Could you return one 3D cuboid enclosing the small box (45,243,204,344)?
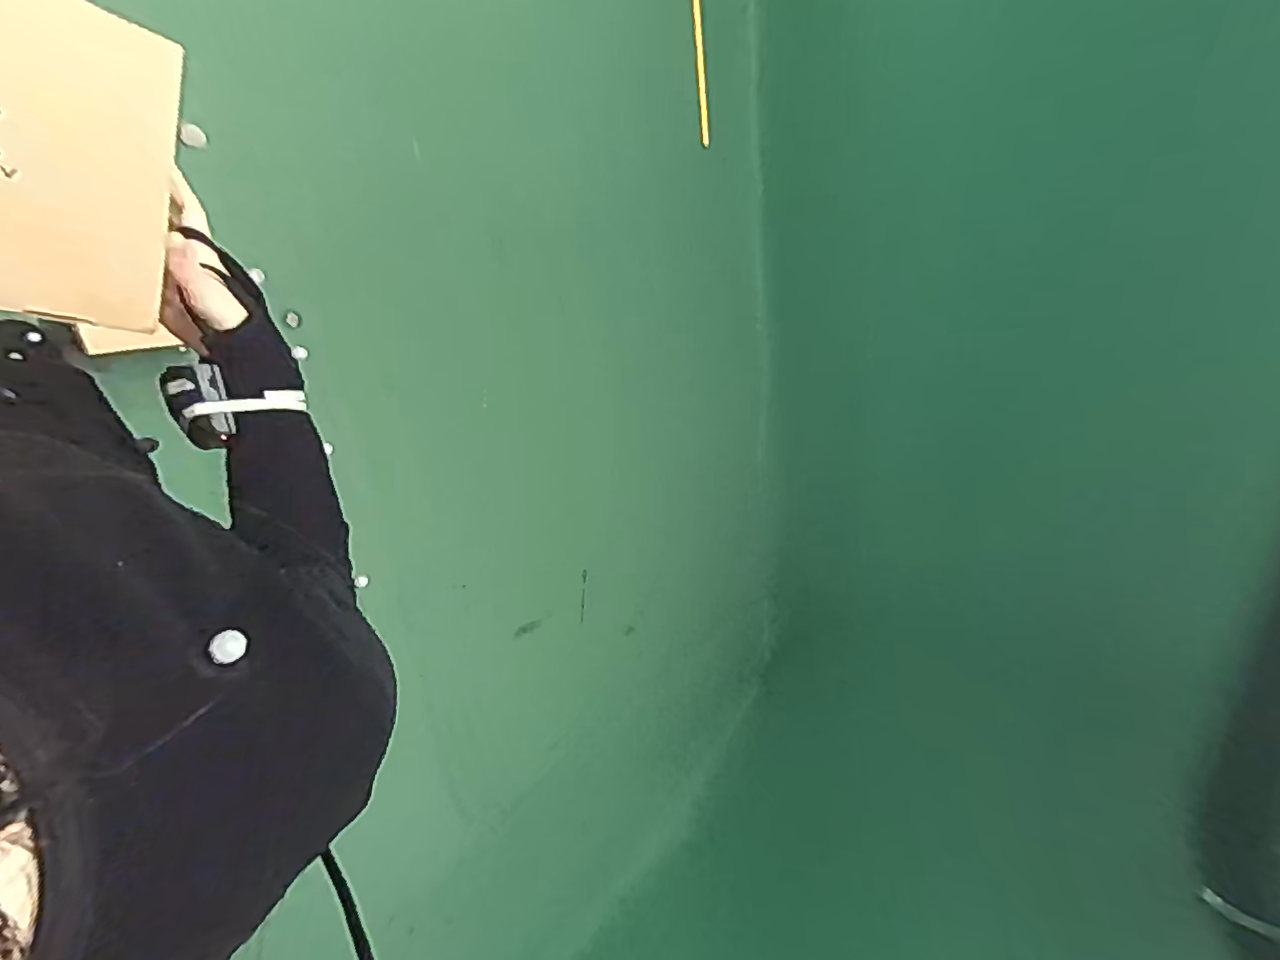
[{"bbox_3d":[-0.985,-0.354,1.035,0.179,0.176,0.168,-26,118,-45],"label":"small box"}]
